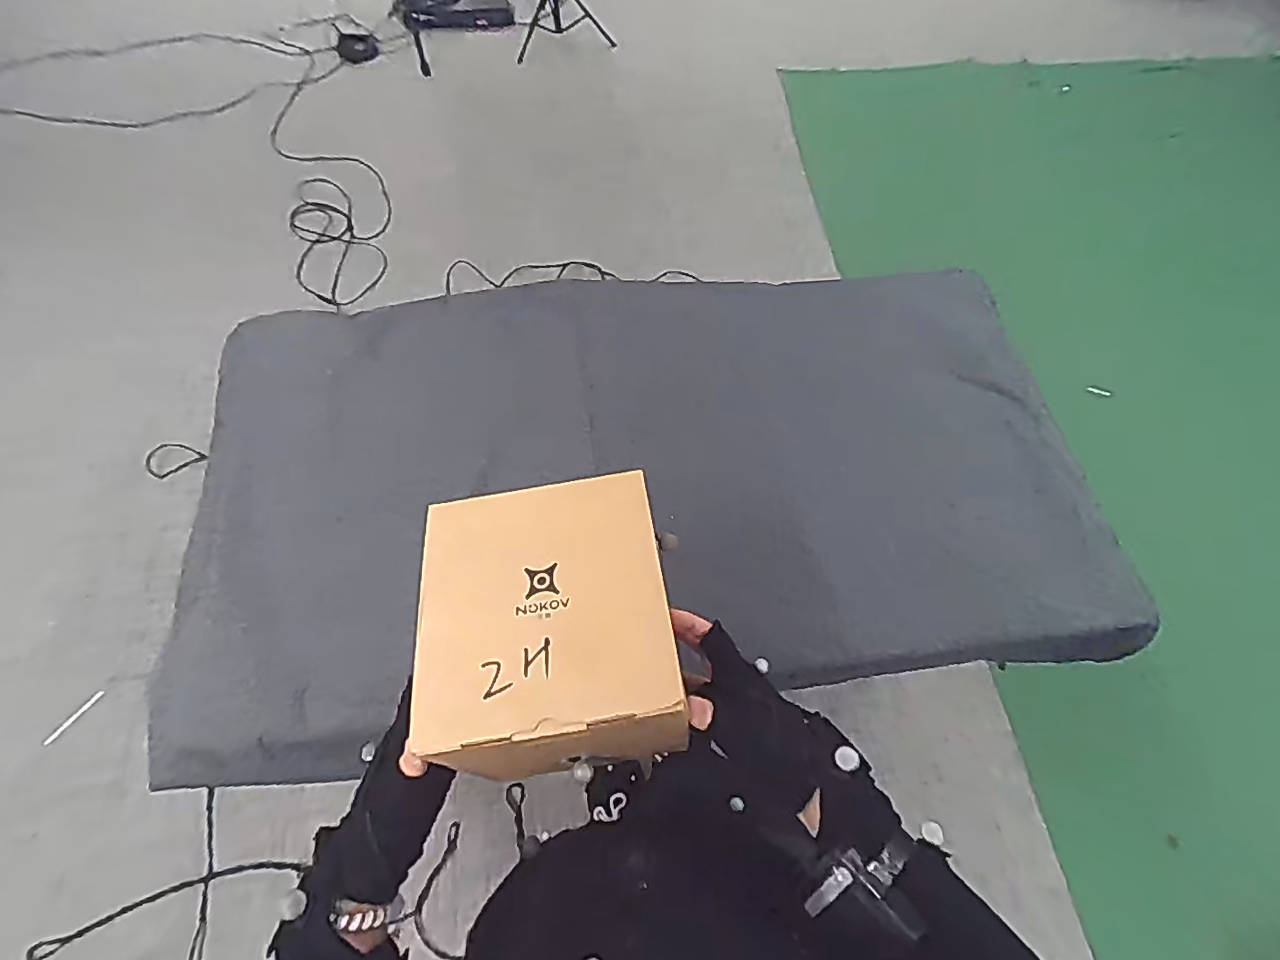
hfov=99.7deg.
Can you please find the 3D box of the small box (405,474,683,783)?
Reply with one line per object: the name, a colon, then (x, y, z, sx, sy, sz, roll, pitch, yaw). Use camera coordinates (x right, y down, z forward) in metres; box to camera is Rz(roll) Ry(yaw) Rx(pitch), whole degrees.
small box: (-0.062, 0.122, 0.427, 0.168, 0.176, 0.179, -10, 56, -1)
